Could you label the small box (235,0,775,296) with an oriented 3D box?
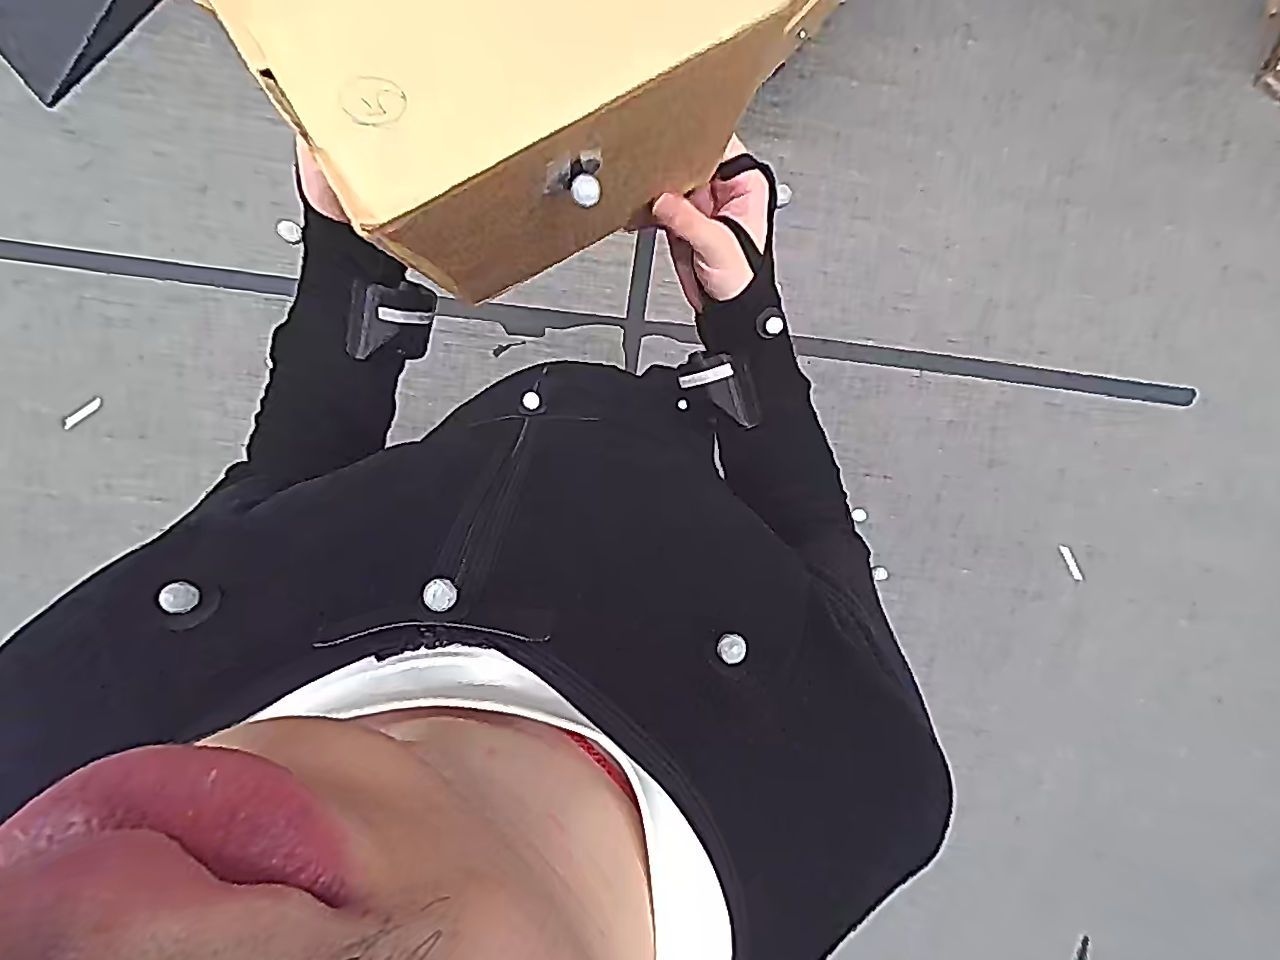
[{"bbox_3d":[-0.066,-0.213,0.265,0.179,0.176,0.168,-30,100,1],"label":"small box"}]
